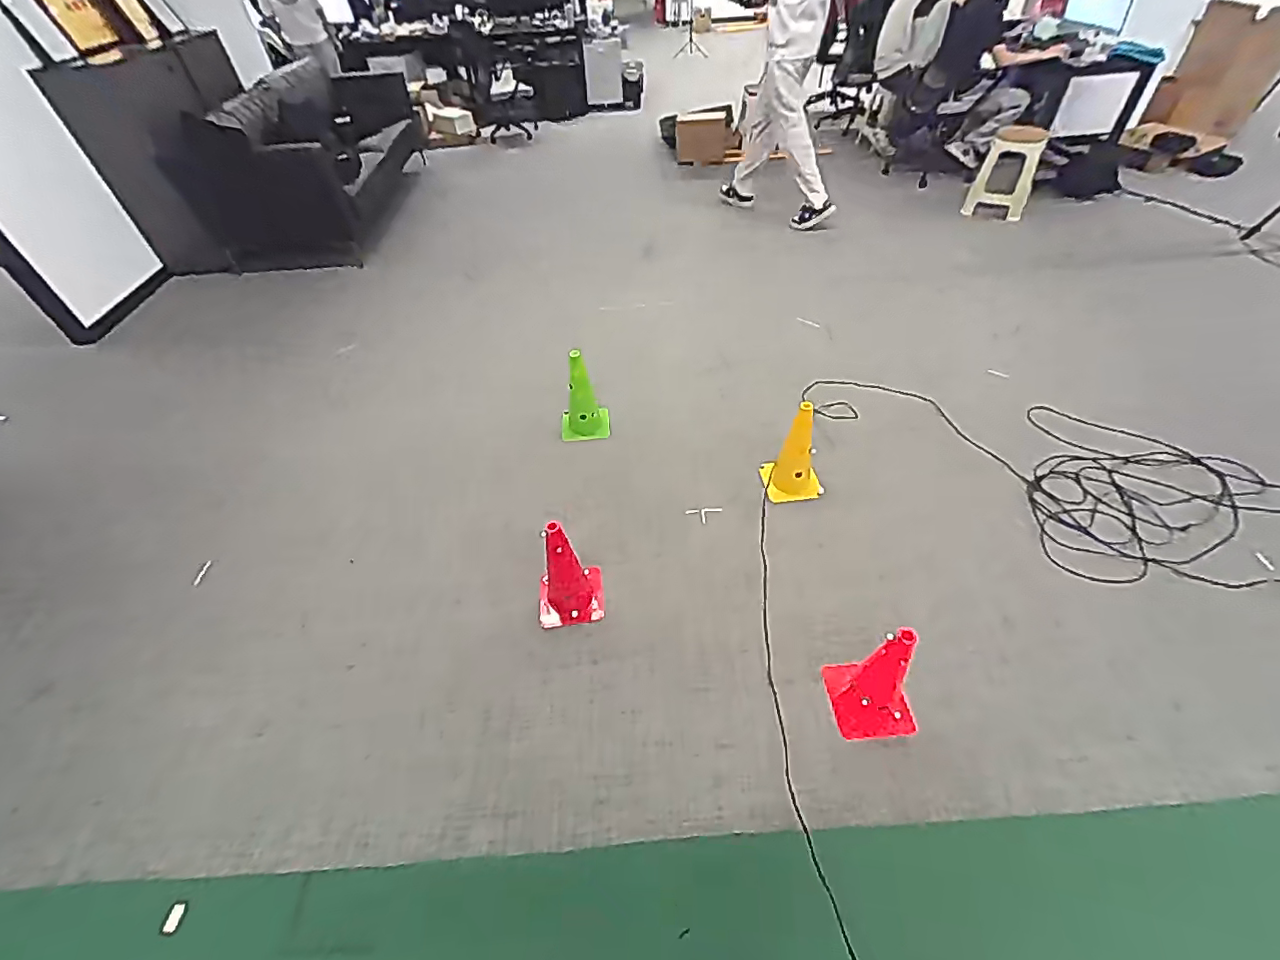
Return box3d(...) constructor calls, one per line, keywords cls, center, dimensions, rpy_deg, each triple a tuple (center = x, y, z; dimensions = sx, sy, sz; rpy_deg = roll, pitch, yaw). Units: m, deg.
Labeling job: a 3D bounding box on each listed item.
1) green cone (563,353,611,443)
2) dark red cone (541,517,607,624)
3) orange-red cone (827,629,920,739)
box3d(cls="green cone", center=(-0.233, -0.346, 2.186), dimensions=(0.202, 0.368, 0.200), rpy_deg=(-5, 46, -2))
box3d(cls="dark red cone", center=(-0.218, 0.244, 1.578), dimensions=(0.202, 0.394, 0.201), rpy_deg=(-9, 47, -4))
box3d(cls="orange-red cone", center=(0.608, 0.469, 1.324), dimensions=(0.198, 0.360, 0.199), rpy_deg=(-4, 45, 0))
